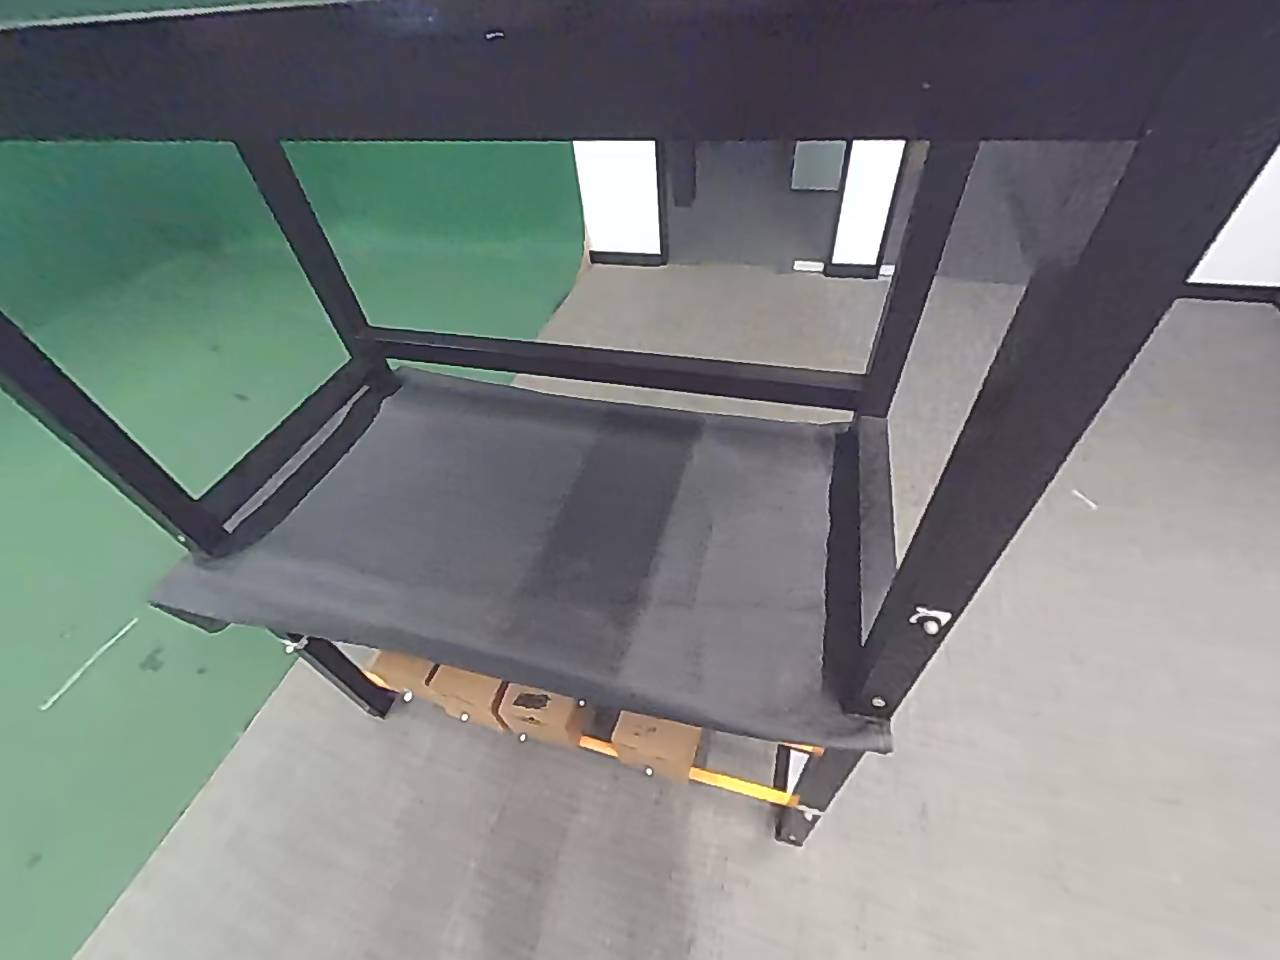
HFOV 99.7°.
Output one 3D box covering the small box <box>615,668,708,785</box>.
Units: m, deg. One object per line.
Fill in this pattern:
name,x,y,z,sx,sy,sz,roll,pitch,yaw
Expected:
small box,0.056,0.572,1.256,0.168,0.176,0.179,12,51,18
